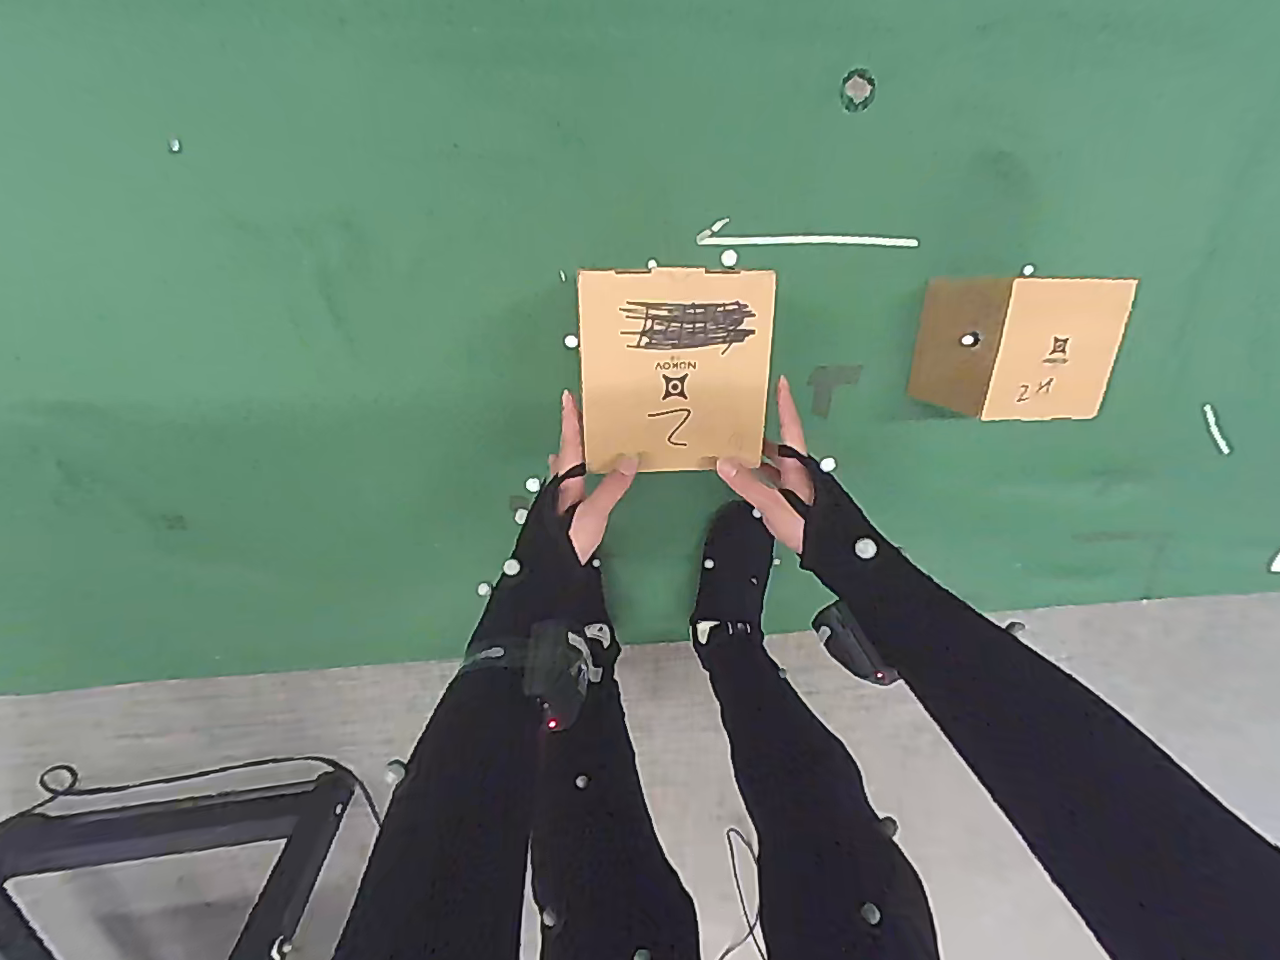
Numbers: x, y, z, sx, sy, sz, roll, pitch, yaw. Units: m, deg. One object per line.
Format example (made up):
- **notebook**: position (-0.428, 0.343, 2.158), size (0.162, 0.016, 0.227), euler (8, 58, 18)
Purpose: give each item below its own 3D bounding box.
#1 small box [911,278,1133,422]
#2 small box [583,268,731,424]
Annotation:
- **small box**: position (0.511, -0.186, 0.754), size (0.168, 0.176, 0.179), euler (-1, 111, -7)
- **small box**: position (0.011, -0.177, 0.696), size (0.168, 0.176, 0.179), euler (-2, 110, -6)
